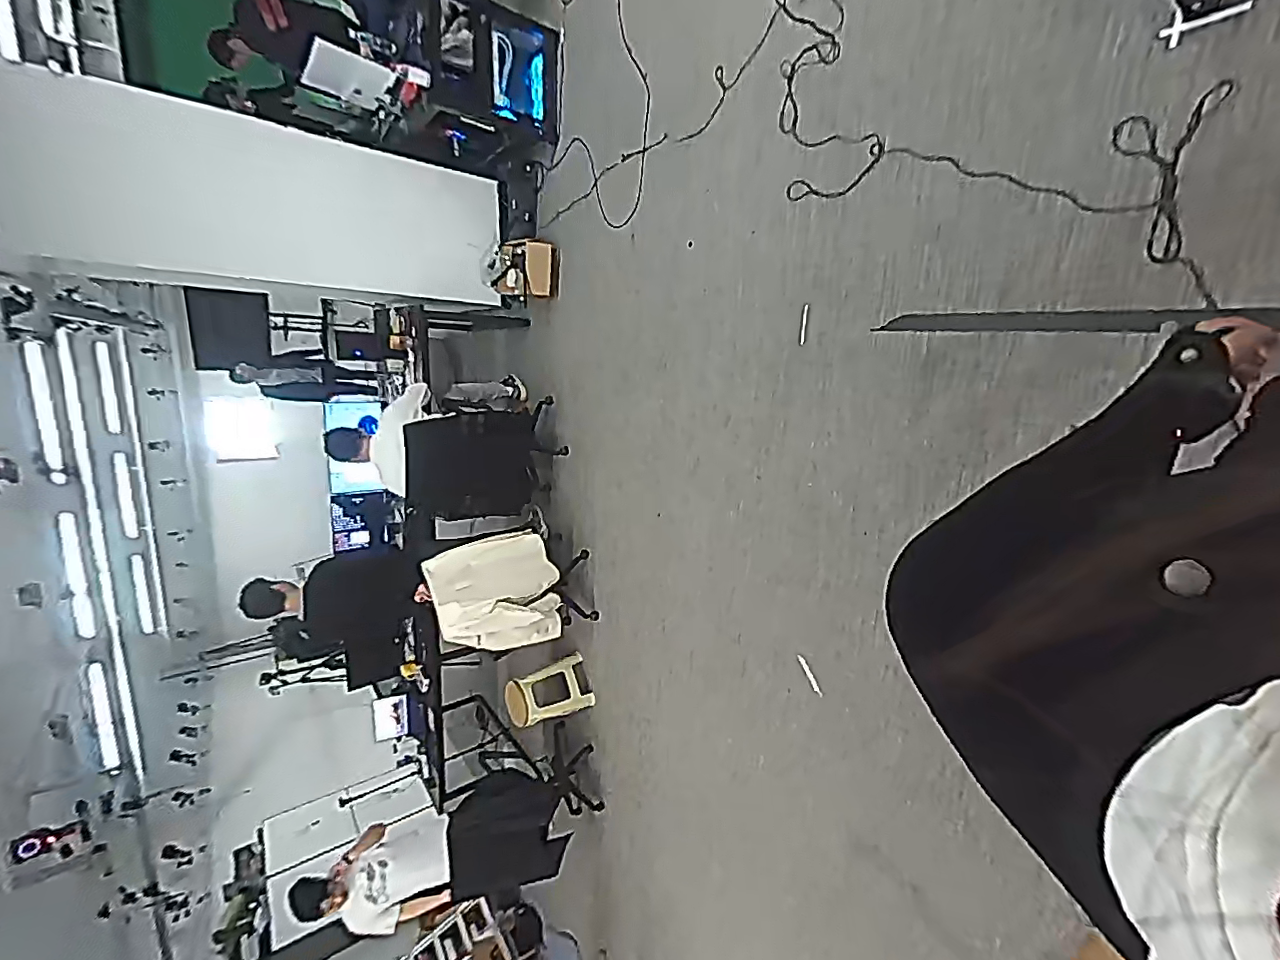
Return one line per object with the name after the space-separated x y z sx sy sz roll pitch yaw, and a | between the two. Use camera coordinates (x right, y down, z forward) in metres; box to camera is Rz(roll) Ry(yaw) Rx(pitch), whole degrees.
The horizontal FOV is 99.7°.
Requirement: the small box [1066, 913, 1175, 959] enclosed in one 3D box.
0.759 0.840 0.832 0.168 0.176 0.179 14 107 50 | small box
